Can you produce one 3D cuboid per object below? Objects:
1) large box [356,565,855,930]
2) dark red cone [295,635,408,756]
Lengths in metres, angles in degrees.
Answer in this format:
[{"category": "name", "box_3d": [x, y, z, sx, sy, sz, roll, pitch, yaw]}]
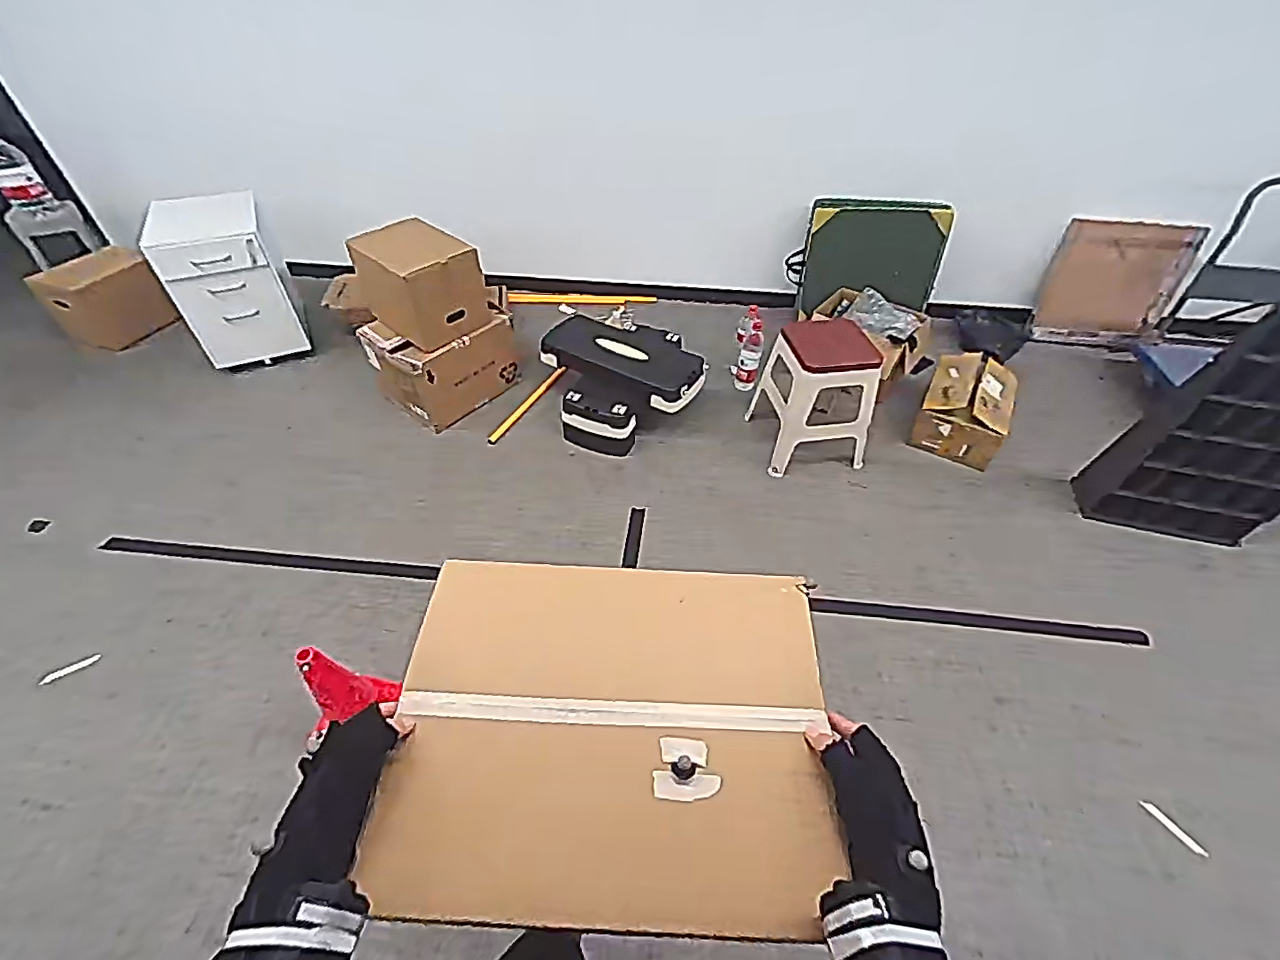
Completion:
[{"category": "large box", "box_3d": [-0.028, 0.317, 0.632, 0.408, 0.320, 0.320, 3, 50, 0]}, {"category": "dark red cone", "box_3d": [-0.729, 0.487, 1.295, 0.201, 0.394, 0.202, 10, 47, 7]}]
